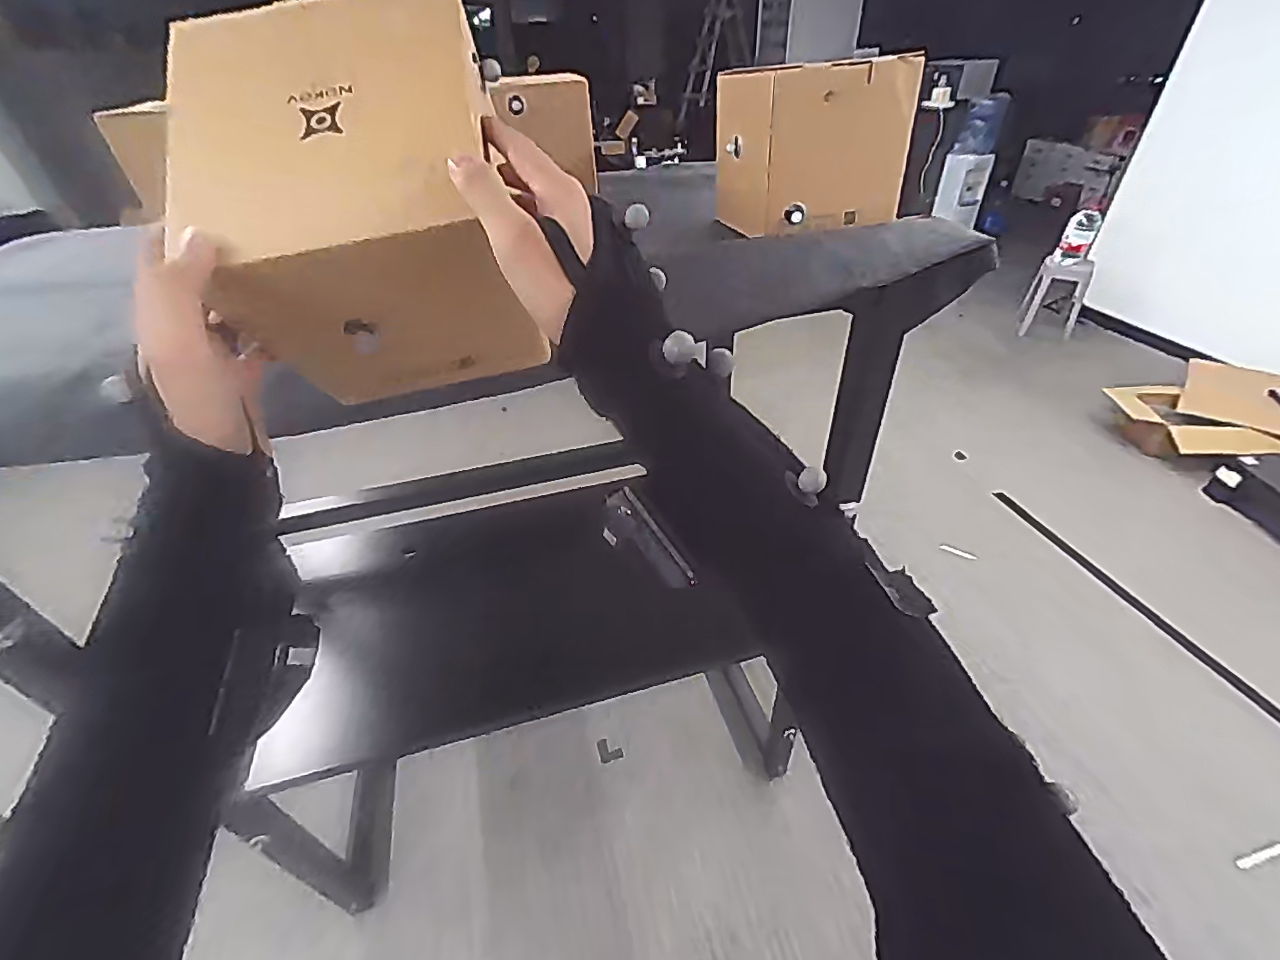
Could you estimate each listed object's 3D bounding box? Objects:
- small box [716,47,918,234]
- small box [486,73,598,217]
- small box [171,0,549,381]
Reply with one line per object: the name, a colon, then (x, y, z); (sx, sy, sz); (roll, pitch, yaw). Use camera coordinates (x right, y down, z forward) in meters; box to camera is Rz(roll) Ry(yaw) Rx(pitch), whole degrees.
small box: (0.198, -0.406, 0.658); (0.168, 0.176, 0.179); (-11, 35, -8)
small box: (-0.166, -0.508, 0.821); (0.168, 0.176, 0.179); (-12, 39, -11)
small box: (-0.168, -0.183, 0.371); (0.168, 0.176, 0.179); (-12, 74, -2)
